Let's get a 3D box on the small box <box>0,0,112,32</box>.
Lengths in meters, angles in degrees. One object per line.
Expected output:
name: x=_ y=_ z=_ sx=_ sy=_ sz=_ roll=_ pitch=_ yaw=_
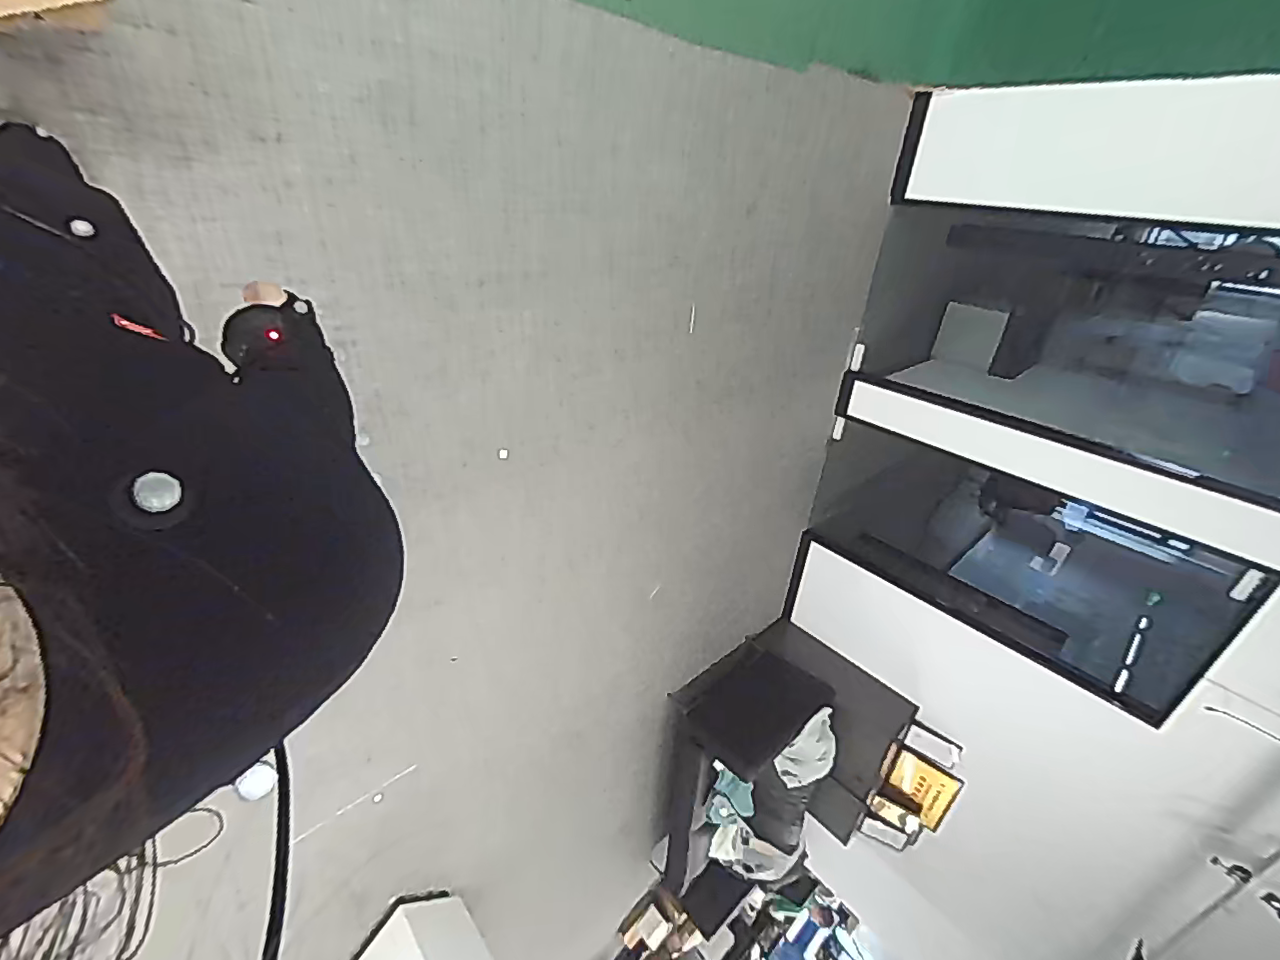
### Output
small box: x=-0.821 y=-0.678 z=0.673 sx=0.179 sy=0.176 sz=0.168 roll=-38 pitch=139 yaw=-24

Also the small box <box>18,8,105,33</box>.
small box: x=-0.922 y=-0.757 z=0.773 sx=0.179 sy=0.176 sz=0.168 roll=-28 pitch=133 yaw=-33
